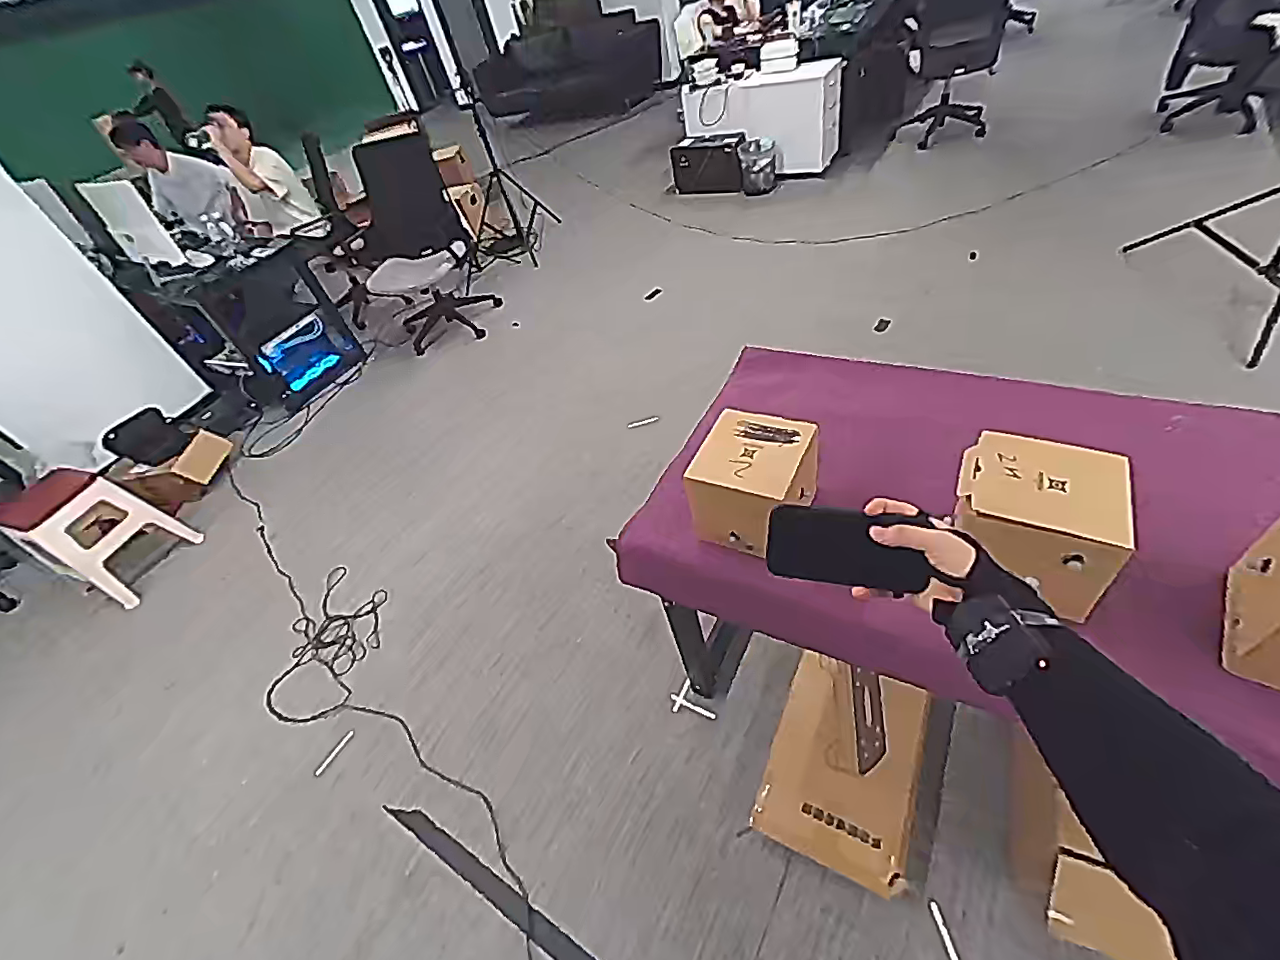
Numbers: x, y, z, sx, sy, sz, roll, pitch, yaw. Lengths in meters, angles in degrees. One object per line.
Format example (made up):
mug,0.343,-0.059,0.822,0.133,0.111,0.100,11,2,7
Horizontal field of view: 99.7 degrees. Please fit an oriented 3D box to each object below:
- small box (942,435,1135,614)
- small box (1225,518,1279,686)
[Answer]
small box,0.549,0.064,0.762,0.179,0.176,0.168,13,50,27
small box,0.812,0.148,0.603,0.179,0.176,0.168,20,56,31
